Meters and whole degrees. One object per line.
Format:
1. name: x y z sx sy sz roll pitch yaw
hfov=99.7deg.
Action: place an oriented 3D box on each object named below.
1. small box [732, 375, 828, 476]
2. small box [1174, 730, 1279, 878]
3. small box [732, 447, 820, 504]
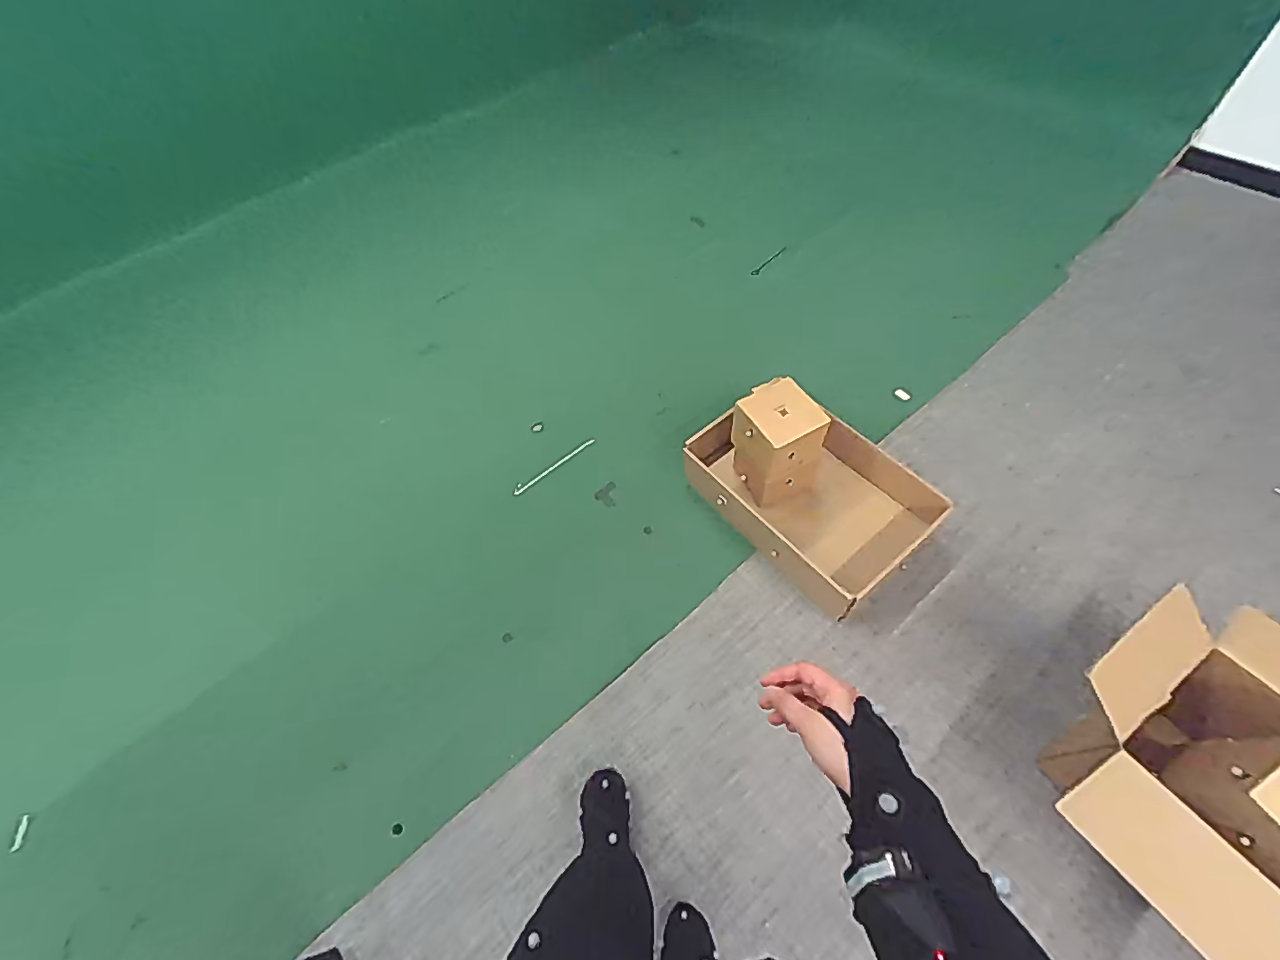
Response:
1. small box: 0.356 -0.132 1.409 0.168 0.176 0.179 -27 60 -12
2. small box: 1.094 0.558 0.929 0.179 0.176 0.168 -28 63 -11
3. small box: 0.382 -0.061 1.554 0.179 0.176 0.168 -23 59 -9
